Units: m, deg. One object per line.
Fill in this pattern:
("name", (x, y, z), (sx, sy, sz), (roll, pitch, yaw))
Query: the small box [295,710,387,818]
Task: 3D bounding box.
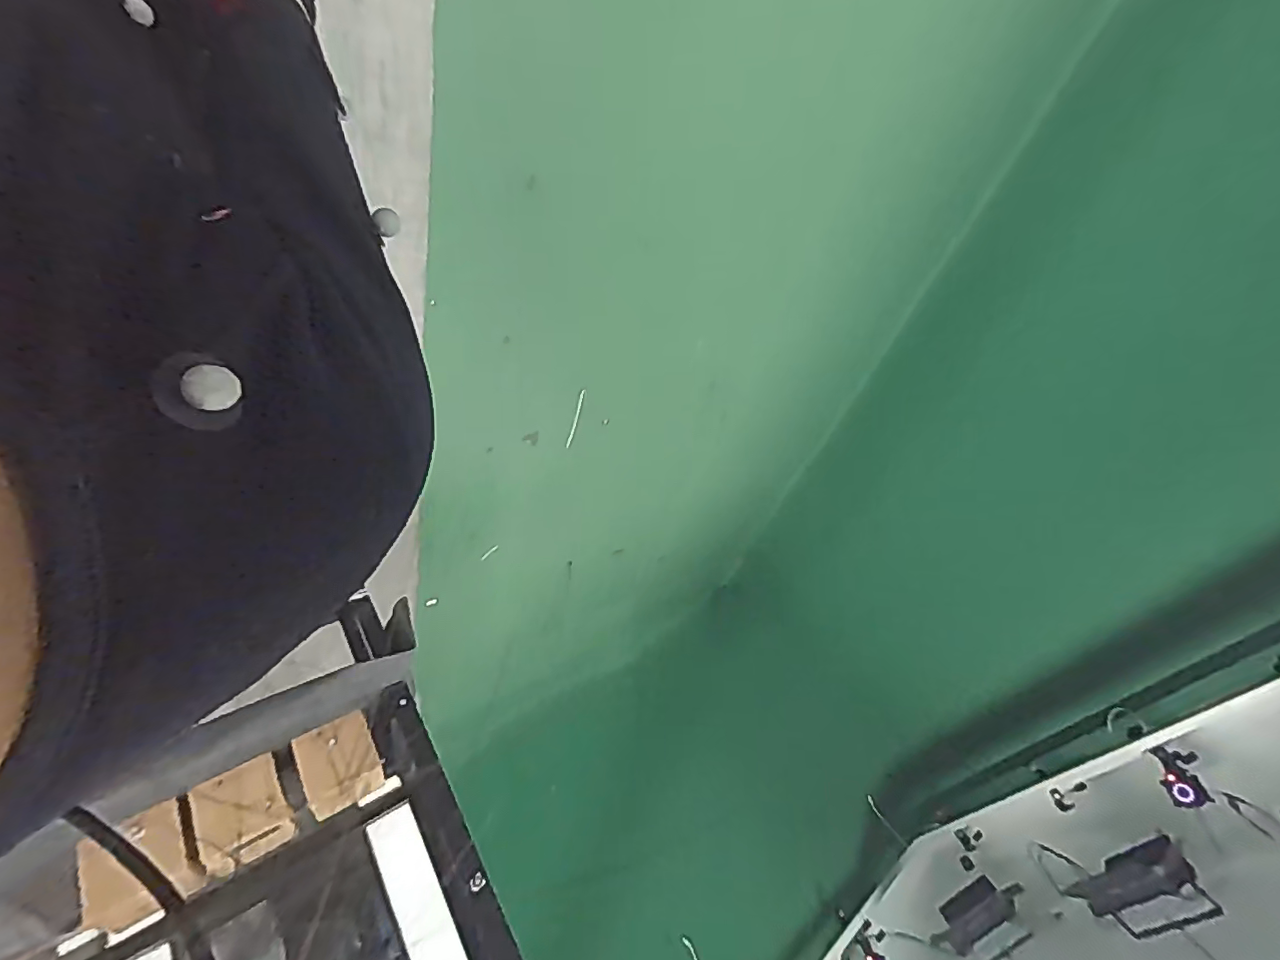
("small box", (-0.780, 0.738, 1.416), (0.168, 0.176, 0.179), (-19, 145, -34))
